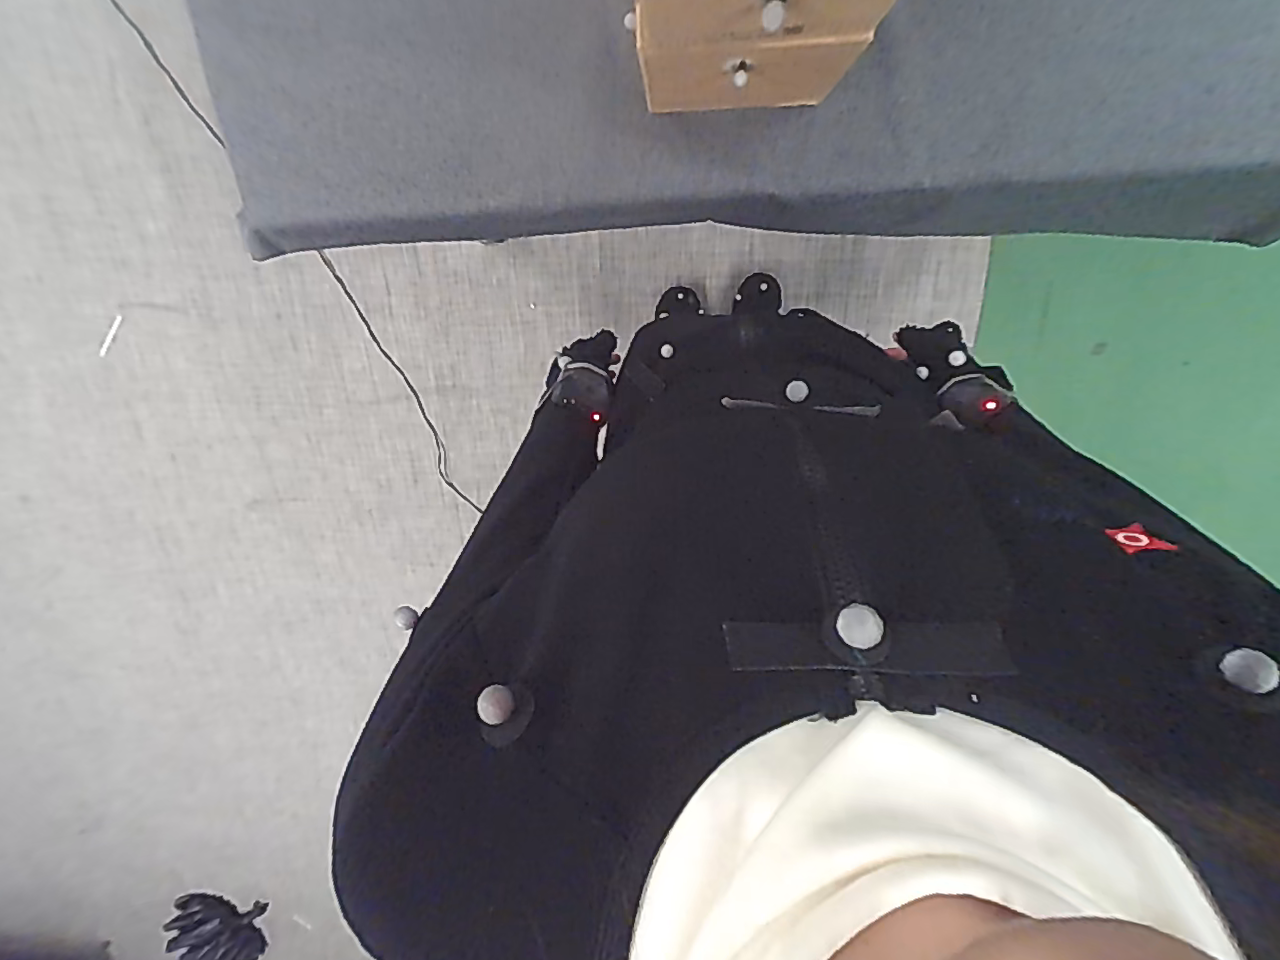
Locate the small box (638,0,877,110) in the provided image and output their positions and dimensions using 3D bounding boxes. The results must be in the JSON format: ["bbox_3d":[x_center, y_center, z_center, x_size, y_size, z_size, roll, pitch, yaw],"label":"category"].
[{"bbox_3d":[0.090,-0.428,0.451,0.179,0.176,0.168,-1,111,4],"label":"small box"}]

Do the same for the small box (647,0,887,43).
[{"bbox_3d":[0.079,-0.374,0.297,0.168,0.176,0.179,-2,112,6],"label":"small box"}]
